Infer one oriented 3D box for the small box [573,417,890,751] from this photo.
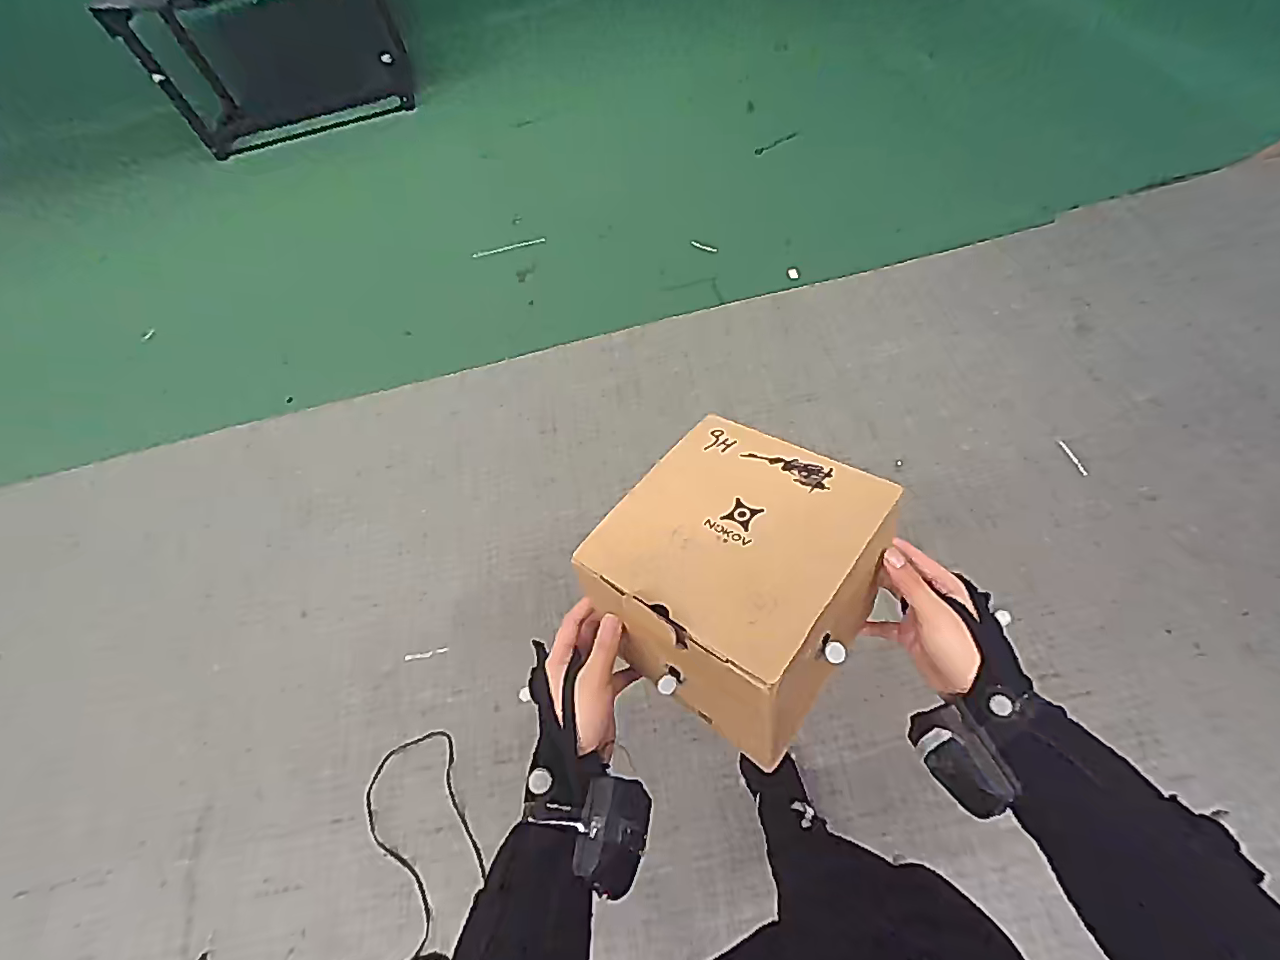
[{"bbox_3d":[0.079,0.084,0.445,0.168,0.176,0.179,27,60,33],"label":"small box"}]
